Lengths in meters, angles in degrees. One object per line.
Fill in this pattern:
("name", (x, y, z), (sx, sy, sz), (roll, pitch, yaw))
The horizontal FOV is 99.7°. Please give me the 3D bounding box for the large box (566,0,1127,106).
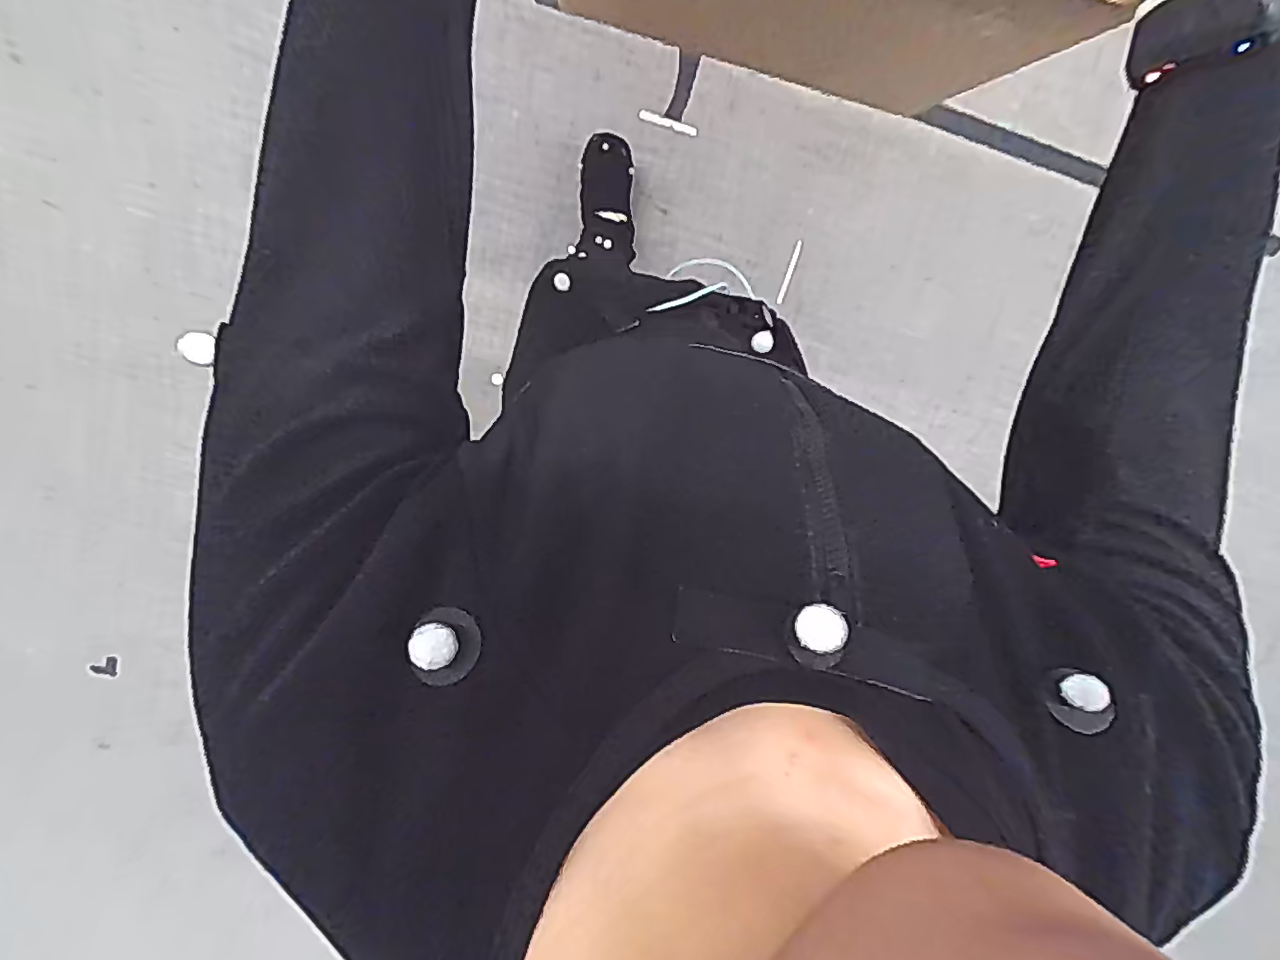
("large box", (0.153, -0.541, 0.407), (0.408, 0.320, 0.320), (11, 114, -8))
